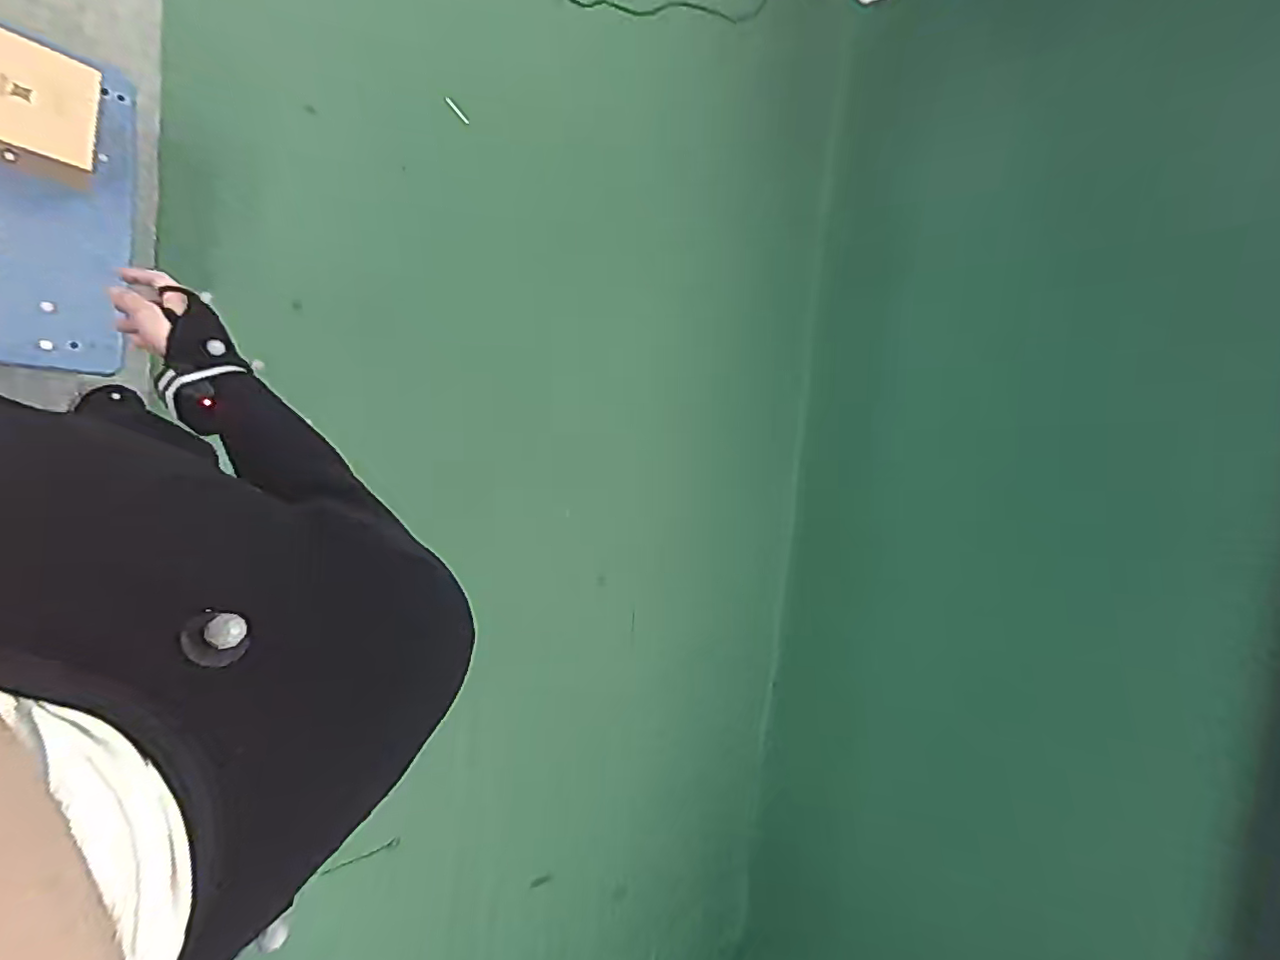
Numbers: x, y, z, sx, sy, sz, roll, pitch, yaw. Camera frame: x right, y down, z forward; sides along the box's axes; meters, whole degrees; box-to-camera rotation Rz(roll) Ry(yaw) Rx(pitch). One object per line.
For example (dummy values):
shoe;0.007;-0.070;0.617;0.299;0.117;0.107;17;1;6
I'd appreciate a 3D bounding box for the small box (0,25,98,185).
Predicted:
small box;-1.023;-0.616;0.887;0.179;0.176;0.168;6;93;-46
